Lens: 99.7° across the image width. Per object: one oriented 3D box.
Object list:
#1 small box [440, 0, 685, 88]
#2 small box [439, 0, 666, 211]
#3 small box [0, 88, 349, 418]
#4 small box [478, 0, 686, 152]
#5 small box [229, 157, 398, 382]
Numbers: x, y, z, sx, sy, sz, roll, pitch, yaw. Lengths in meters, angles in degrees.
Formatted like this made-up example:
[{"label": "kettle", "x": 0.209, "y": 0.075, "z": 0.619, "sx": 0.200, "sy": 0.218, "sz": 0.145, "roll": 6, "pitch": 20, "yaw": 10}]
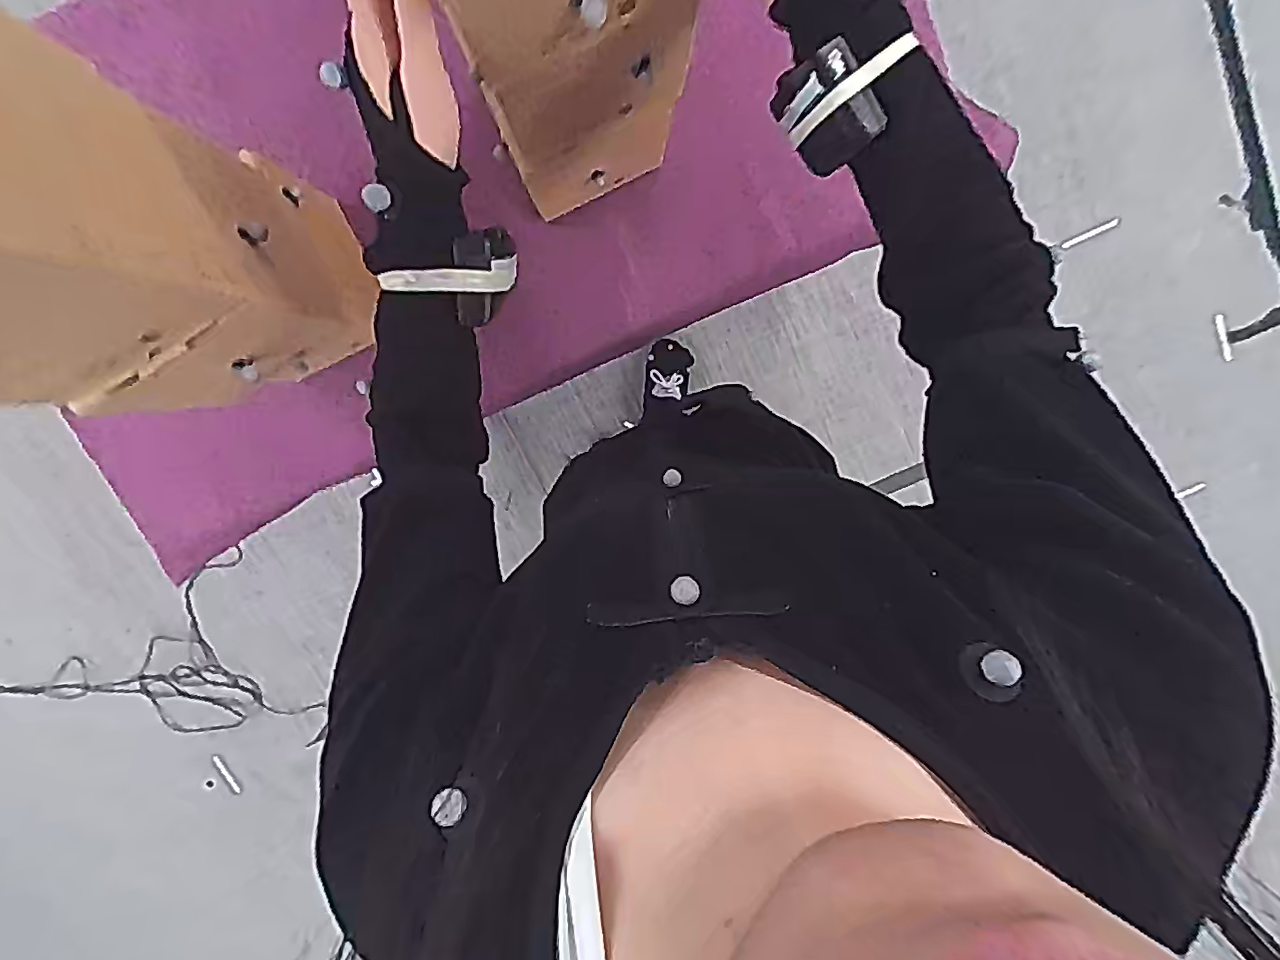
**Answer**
[{"label": "small box", "x": -0.062, "y": -0.358, "z": 0.276, "sx": 0.168, "sy": 0.176, "sz": 0.179, "roll": -25, "pitch": 102, "yaw": 3}, {"label": "small box", "x": -0.083, "y": -0.422, "z": 0.595, "sx": 0.168, "sy": 0.176, "sz": 0.179, "roll": -25, "pitch": 101, "yaw": 3}, {"label": "small box", "x": -0.400, "y": -0.175, "z": 0.470, "sx": 0.168, "sy": 0.176, "sz": 0.179, "roll": -30, "pitch": 101, "yaw": 4}, {"label": "small box", "x": -0.069, "y": -0.400, "z": 0.435, "sx": 0.168, "sy": 0.176, "sz": 0.179, "roll": -24, "pitch": 100, "yaw": 2}, {"label": "small box", "x": -0.418, "y": -0.224, "z": 0.627, "sx": 0.168, "sy": 0.176, "sz": 0.179, "roll": -26, "pitch": 101, "yaw": 3}]
